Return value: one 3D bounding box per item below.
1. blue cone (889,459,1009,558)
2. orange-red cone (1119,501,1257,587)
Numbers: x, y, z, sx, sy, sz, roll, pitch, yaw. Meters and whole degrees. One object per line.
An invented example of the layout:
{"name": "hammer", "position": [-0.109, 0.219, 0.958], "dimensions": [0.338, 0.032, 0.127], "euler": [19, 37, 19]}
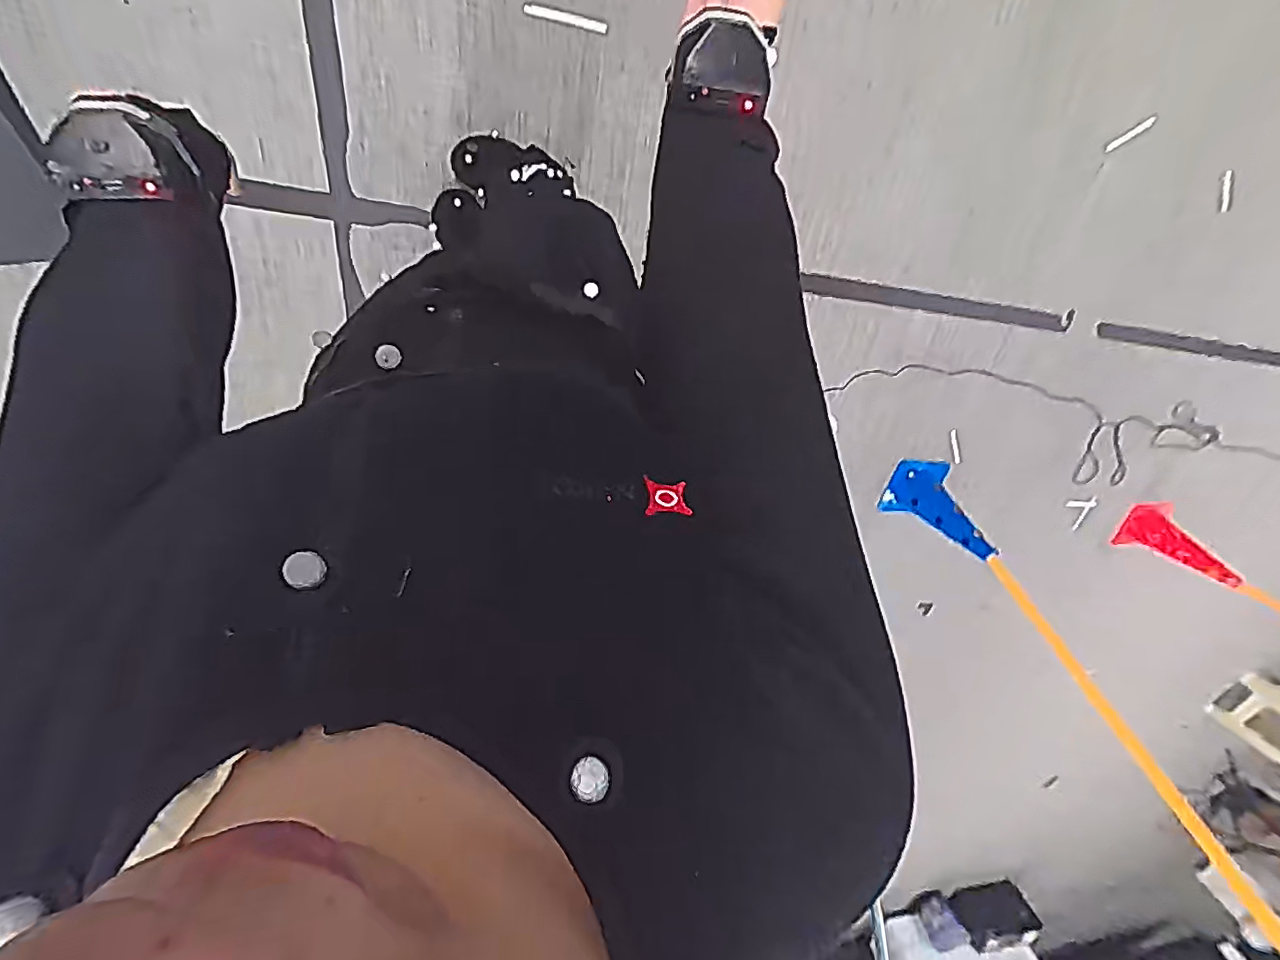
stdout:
{"name": "blue cone", "position": [0.949, 0.102, 1.629], "dimensions": [0.192, 0.380, 0.193], "euler": [4, 121, -16]}
{"name": "orange-red cone", "position": [2.003, 0.253, 1.946], "dimensions": [0.198, 0.360, 0.199], "euler": [-2, 121, -12]}
